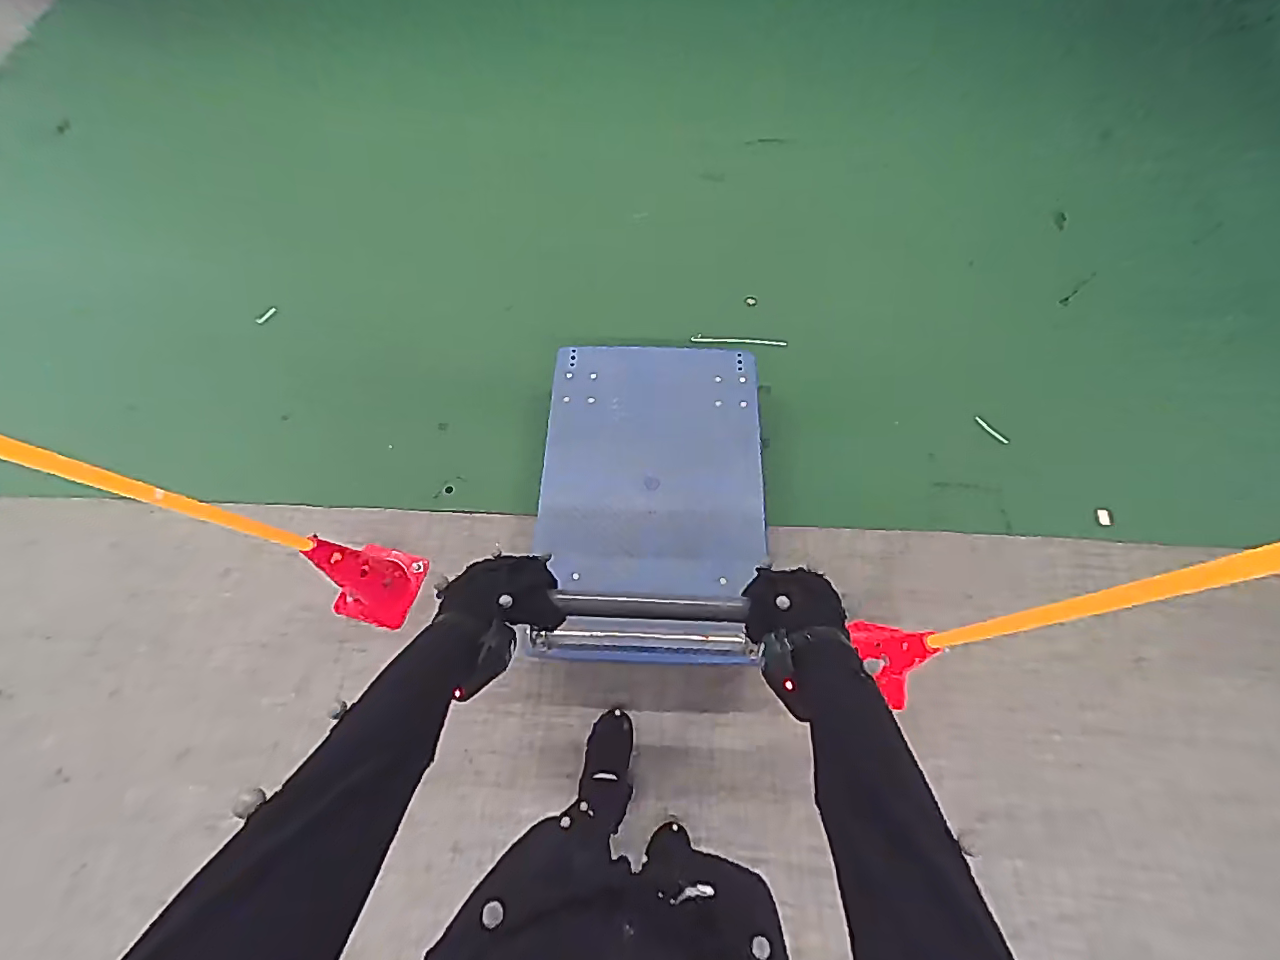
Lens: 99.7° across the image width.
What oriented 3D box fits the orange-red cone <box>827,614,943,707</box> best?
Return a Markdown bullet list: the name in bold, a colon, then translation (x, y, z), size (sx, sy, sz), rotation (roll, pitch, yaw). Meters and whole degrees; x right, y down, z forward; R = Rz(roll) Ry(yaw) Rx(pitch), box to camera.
- **orange-red cone**: translation (0.579, 0.383, 1.215), size (0.198, 0.360, 0.199), rotation (12, 67, 6)
